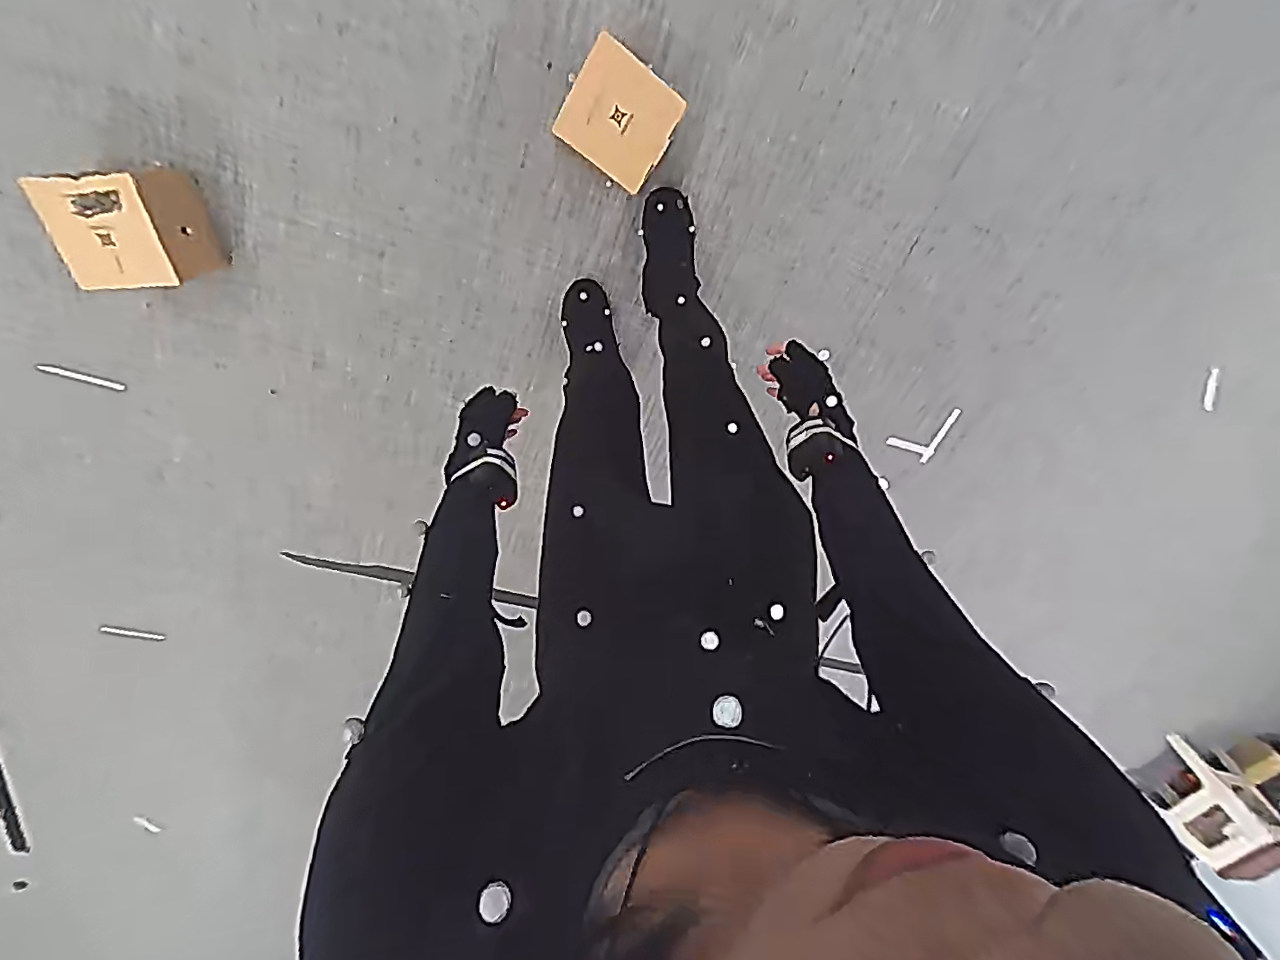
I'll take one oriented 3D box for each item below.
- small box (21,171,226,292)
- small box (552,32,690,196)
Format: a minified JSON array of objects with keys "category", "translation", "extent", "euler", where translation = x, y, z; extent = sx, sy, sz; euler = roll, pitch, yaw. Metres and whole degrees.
[{"category":"small box","translation":[-0.891,-0.445,0.957],"extent":[0.168,0.176,0.179],"euler":[-4,123,-5]},{"category":"small box","translation":[-0.040,-0.638,0.960],"extent":[0.179,0.176,0.168],"euler":[27,113,-21]}]
